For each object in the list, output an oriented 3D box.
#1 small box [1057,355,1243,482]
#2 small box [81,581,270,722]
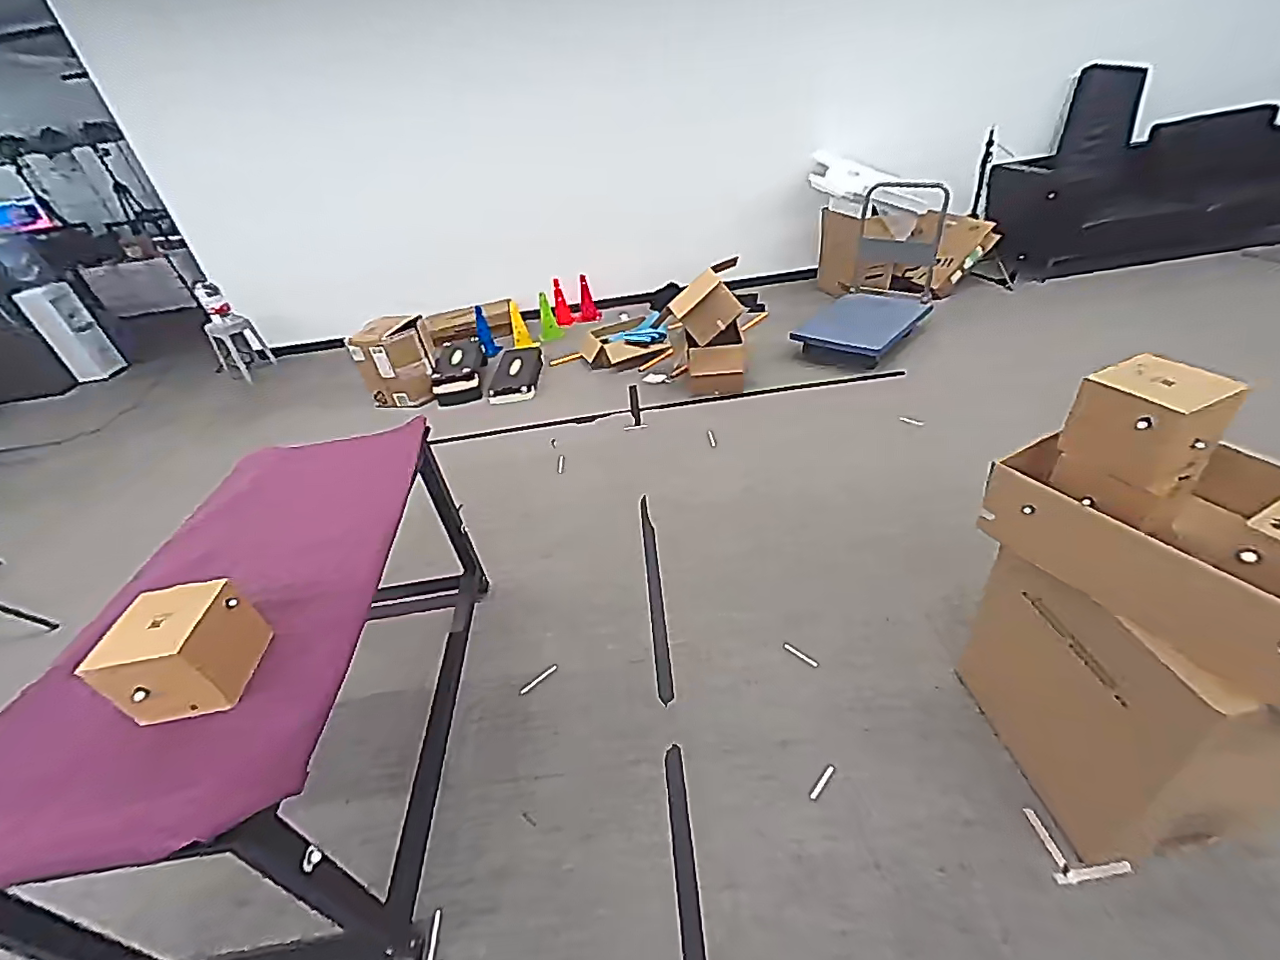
[{"bbox_3d":[0.963,-0.114,1.040,0.168,0.176,0.179,-19,36,-13],"label":"small box"},{"bbox_3d":[-0.824,0.317,0.988,0.168,0.176,0.179,-11,35,-2],"label":"small box"}]
